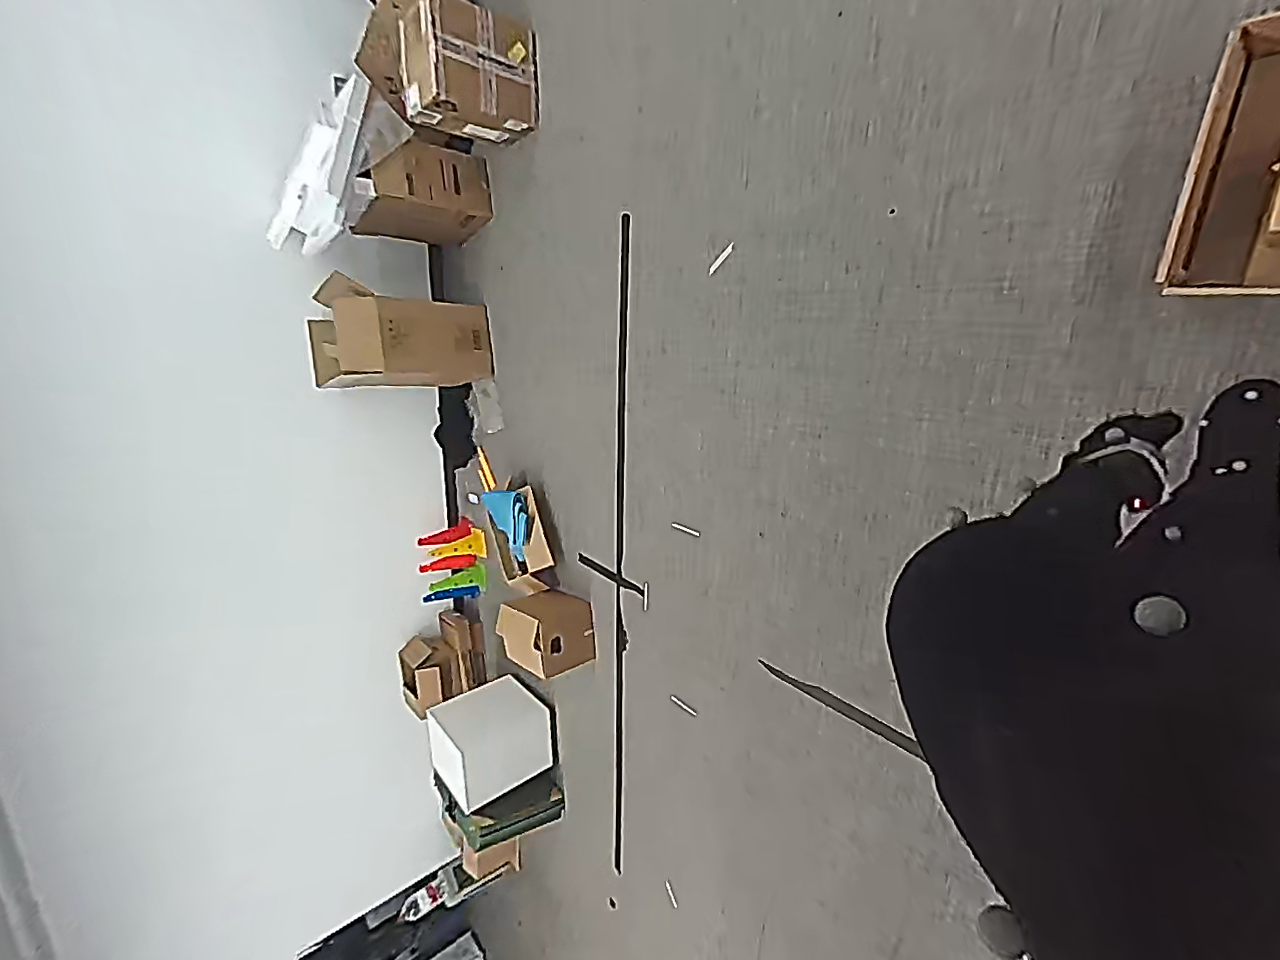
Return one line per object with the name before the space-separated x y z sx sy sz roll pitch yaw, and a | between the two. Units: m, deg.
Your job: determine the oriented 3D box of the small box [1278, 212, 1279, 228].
small box | 1.060 -0.460 0.774 0.168 0.176 0.179 16 111 47
